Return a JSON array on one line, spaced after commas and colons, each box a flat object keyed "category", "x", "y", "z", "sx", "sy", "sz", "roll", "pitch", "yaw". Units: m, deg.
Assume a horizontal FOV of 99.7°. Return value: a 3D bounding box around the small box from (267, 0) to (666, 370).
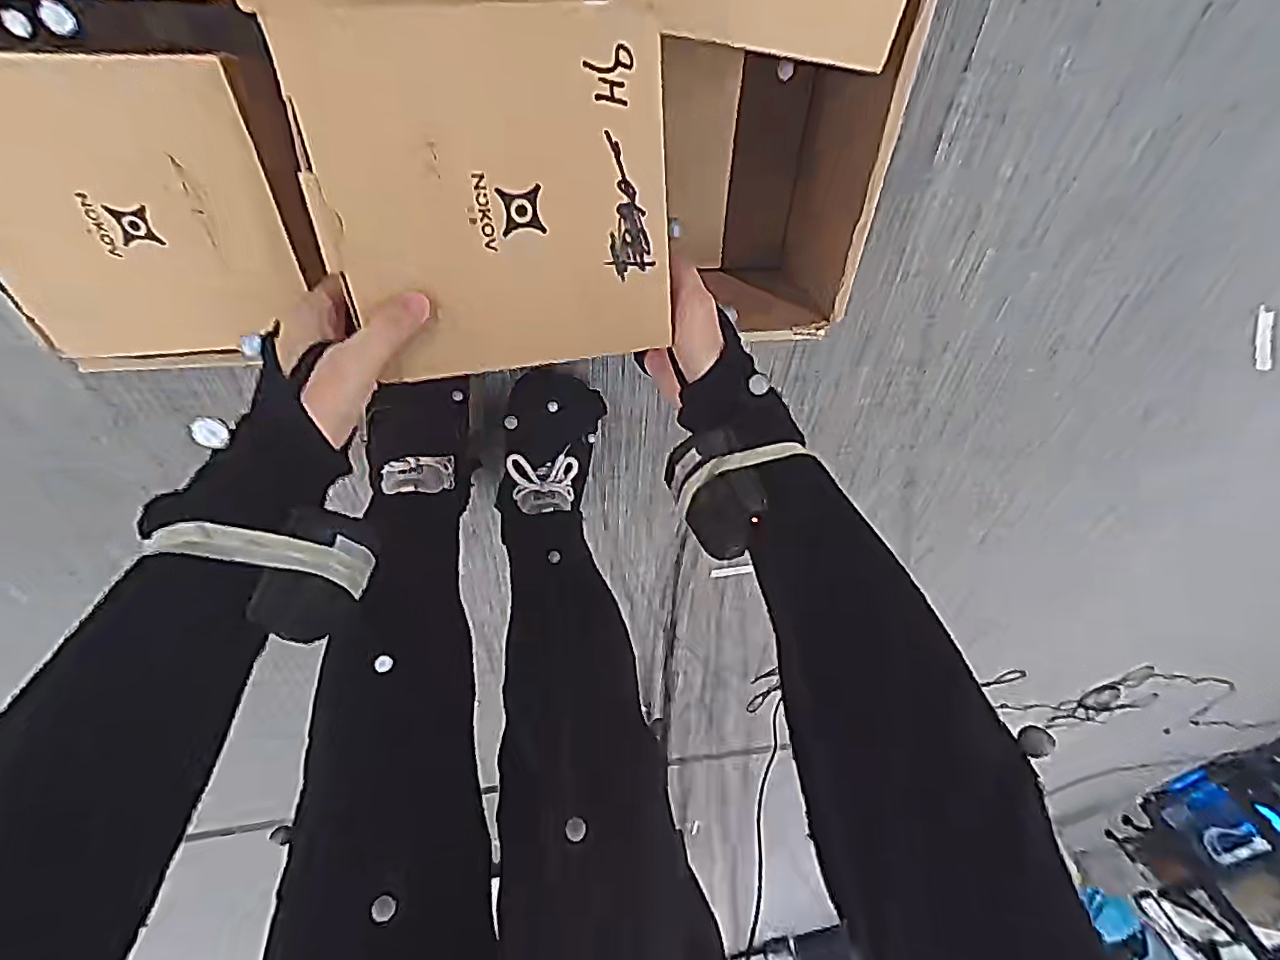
[{"category": "small box", "x": -0.087, "y": -0.180, "z": 0.347, "sx": 0.179, "sy": 0.176, "sz": 0.168, "roll": -8, "pitch": 121, "yaw": -10}]
